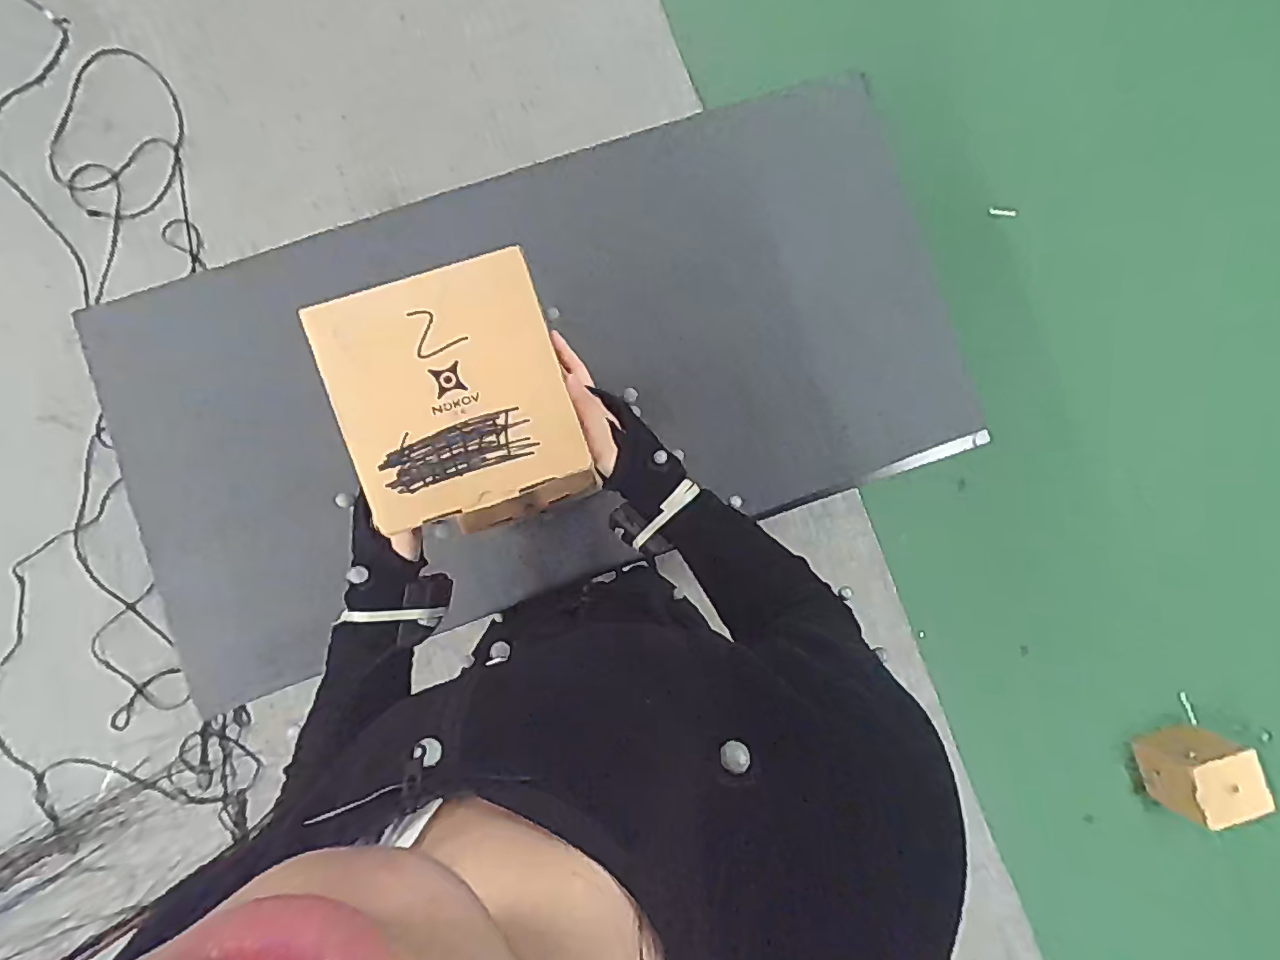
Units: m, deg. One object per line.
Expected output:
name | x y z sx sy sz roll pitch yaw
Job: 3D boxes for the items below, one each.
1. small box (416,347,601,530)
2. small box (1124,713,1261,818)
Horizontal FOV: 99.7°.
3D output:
small box | -0.158 -0.045 0.708 0.168 0.176 0.179 -22 89 -1
small box | 1.480 0.759 1.459 0.179 0.176 0.168 -18 89 -2
